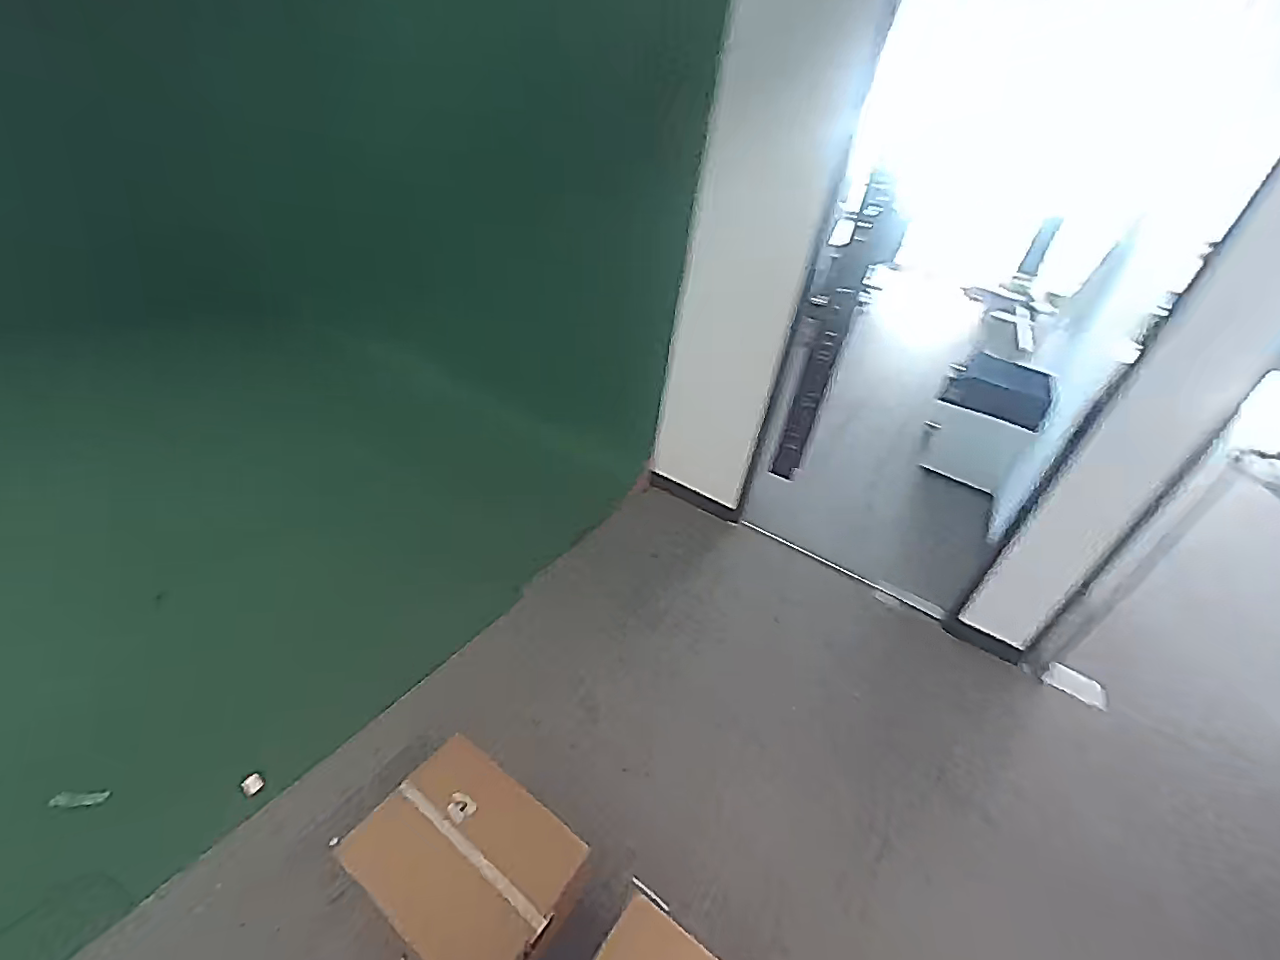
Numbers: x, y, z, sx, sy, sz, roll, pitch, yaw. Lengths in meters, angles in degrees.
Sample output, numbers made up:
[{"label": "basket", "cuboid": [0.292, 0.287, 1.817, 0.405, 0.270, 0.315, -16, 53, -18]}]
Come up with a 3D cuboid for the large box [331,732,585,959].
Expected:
[{"label": "large box", "cuboid": [-0.370, 0.849, 1.158, 0.408, 0.320, 0.320, 27, 38, 25]}]
